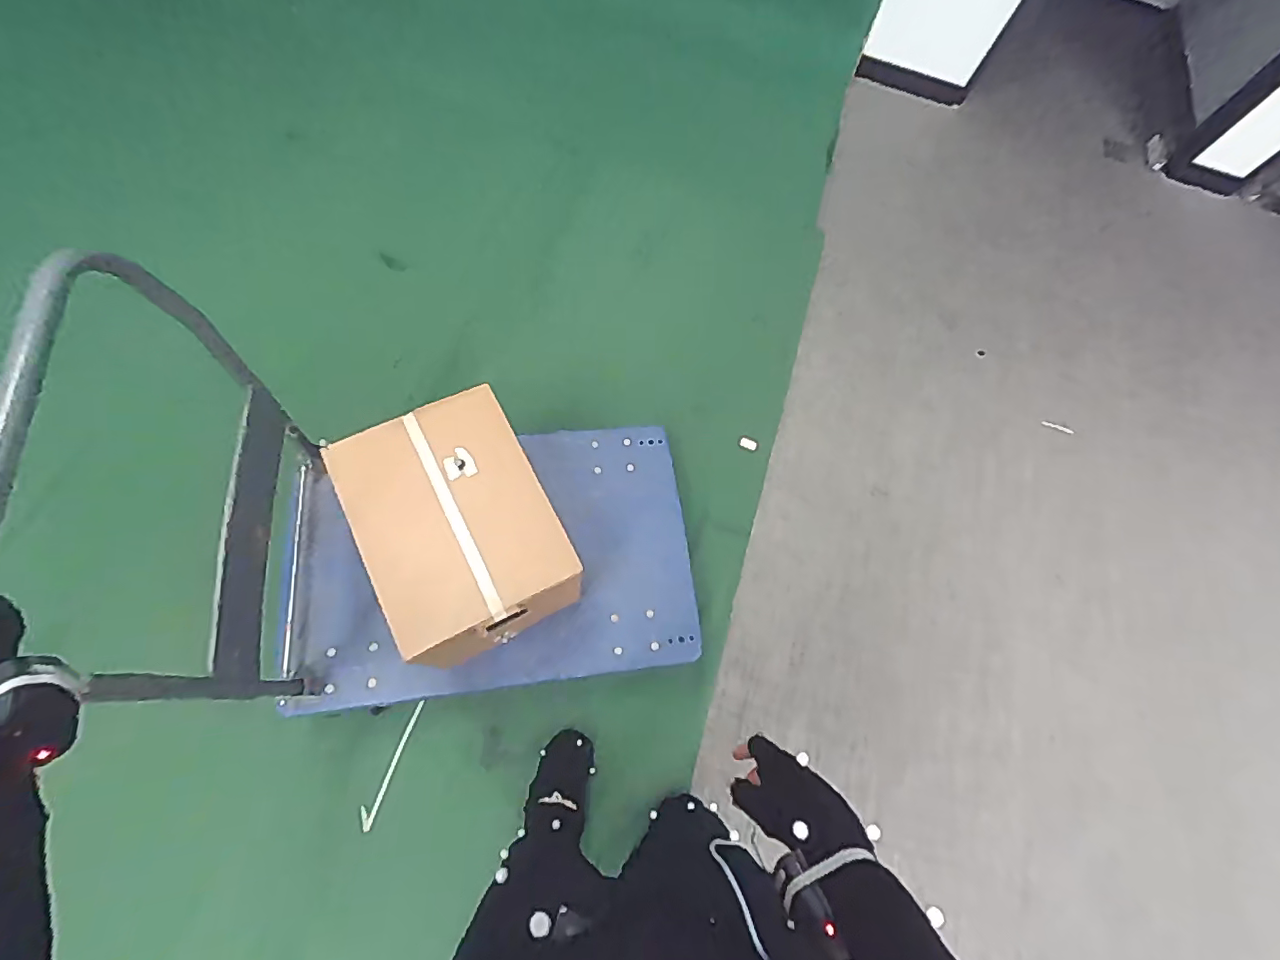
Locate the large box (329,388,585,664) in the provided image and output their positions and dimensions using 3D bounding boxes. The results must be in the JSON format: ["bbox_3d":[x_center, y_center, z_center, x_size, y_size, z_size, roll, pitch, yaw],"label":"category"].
[{"bbox_3d":[-0.335,0.105,1.079,0.320,0.320,0.408,-26,73,-15],"label":"large box"}]
